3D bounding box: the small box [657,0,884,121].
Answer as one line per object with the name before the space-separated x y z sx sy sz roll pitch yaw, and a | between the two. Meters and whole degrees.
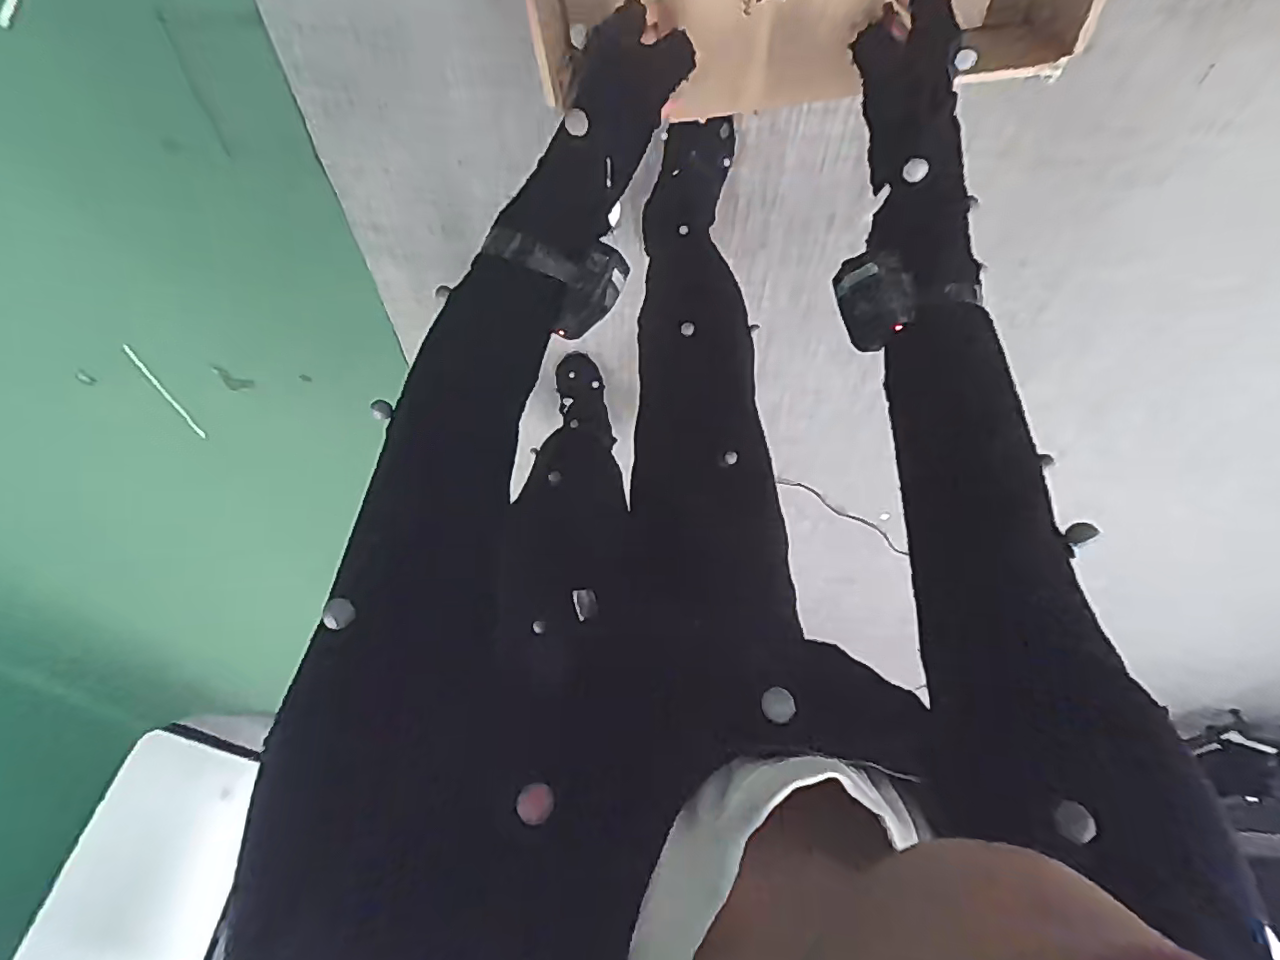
small box | 0.109 -0.439 0.470 0.179 0.176 0.168 -2 137 12
